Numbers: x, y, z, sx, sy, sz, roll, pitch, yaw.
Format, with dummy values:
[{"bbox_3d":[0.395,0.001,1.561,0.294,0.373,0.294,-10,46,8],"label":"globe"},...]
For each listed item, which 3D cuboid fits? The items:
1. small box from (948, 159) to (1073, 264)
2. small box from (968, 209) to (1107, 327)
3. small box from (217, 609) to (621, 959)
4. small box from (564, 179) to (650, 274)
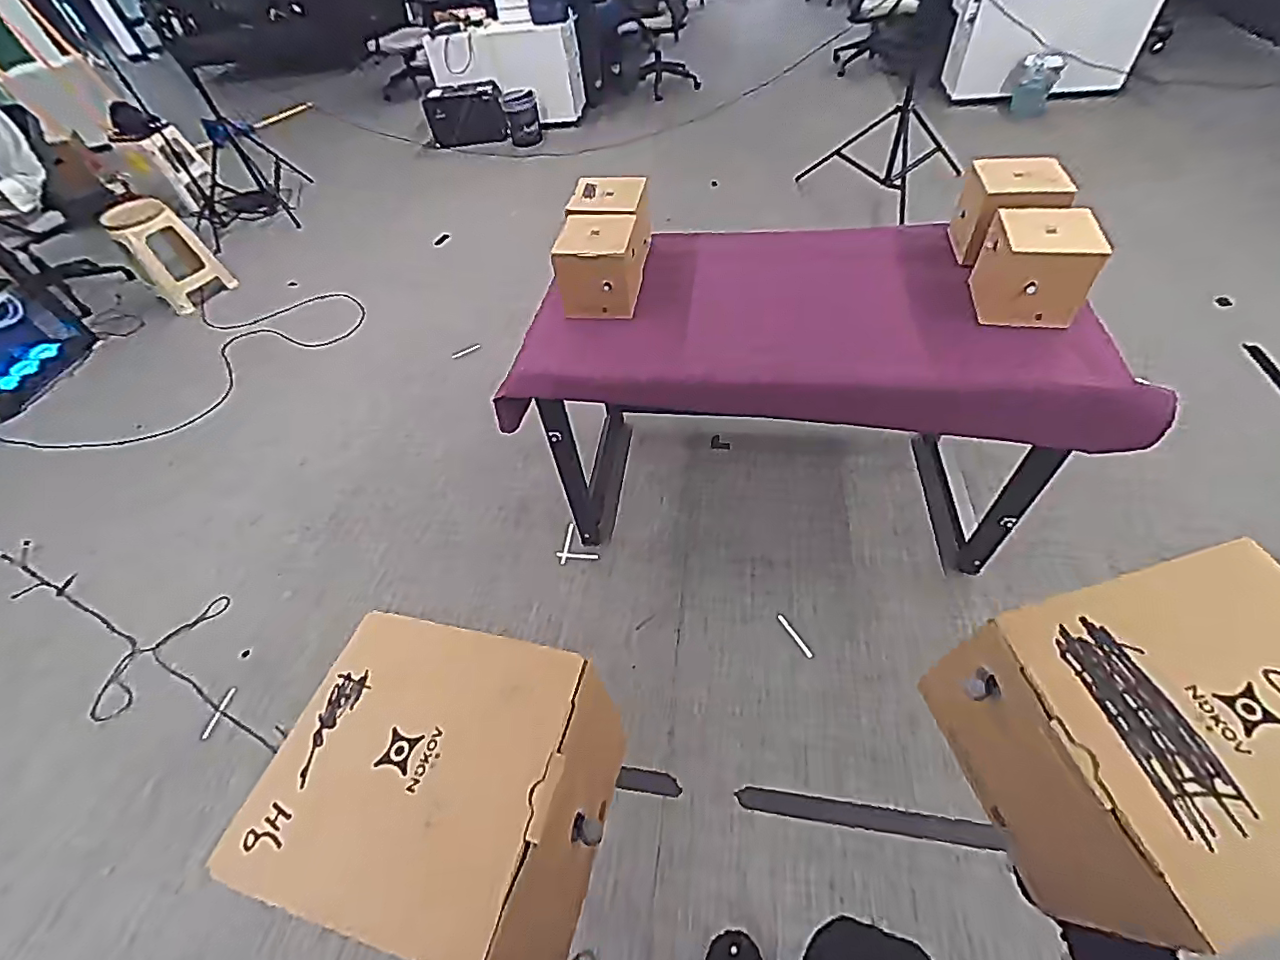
[{"bbox_3d":[0.833,-0.611,1.243,0.179,0.176,0.168,4,53,10],"label":"small box"},{"bbox_3d":[0.801,-0.433,1.112,0.168,0.176,0.179,7,52,13],"label":"small box"},{"bbox_3d":[-0.122,0.219,0.384,0.179,0.176,0.168,8,50,15],"label":"small box"},{"bbox_3d":[-0.078,-0.646,1.383,0.179,0.176,0.168,6,54,10],"label":"small box"}]
